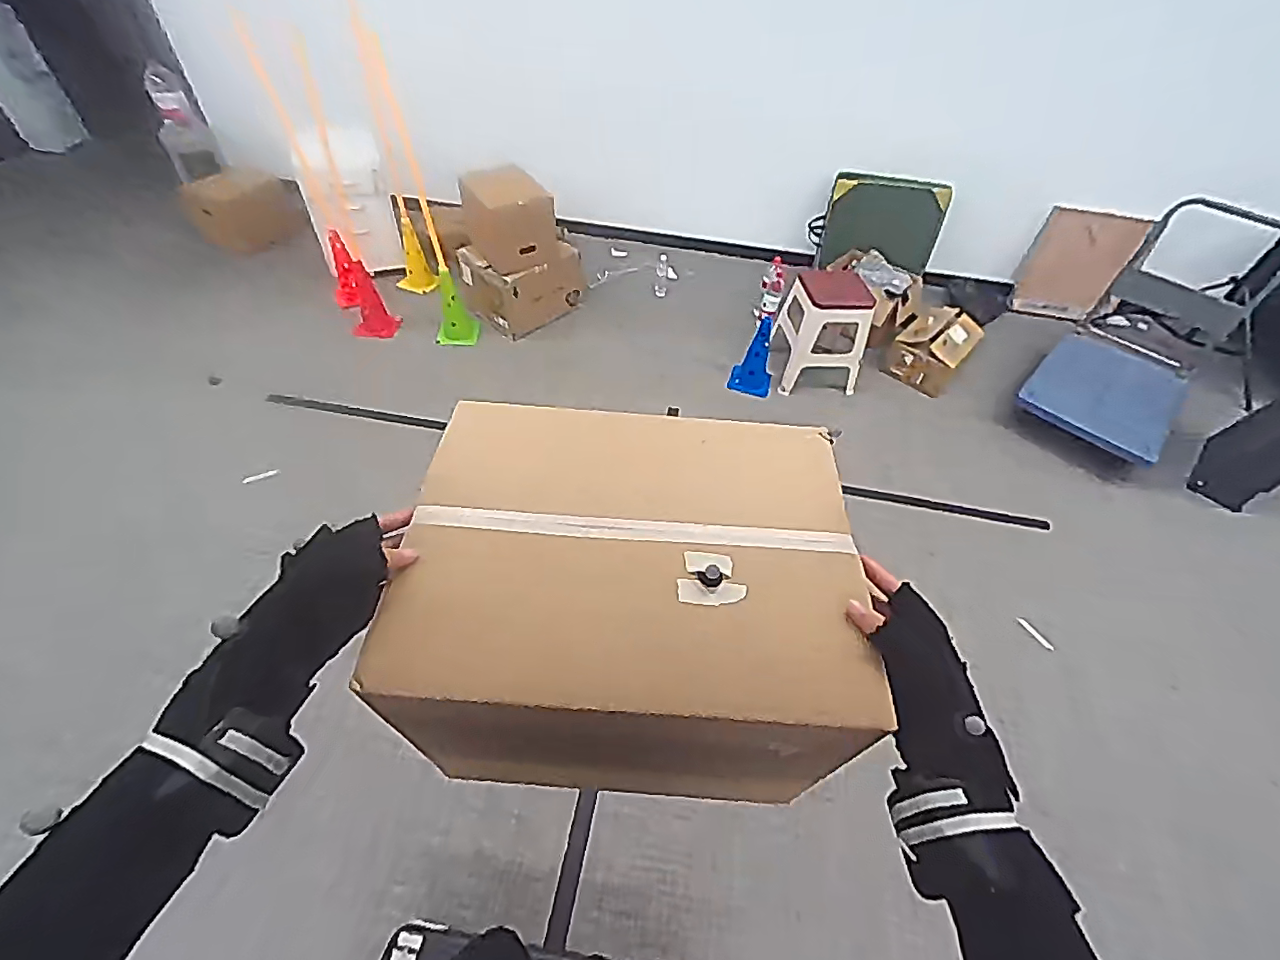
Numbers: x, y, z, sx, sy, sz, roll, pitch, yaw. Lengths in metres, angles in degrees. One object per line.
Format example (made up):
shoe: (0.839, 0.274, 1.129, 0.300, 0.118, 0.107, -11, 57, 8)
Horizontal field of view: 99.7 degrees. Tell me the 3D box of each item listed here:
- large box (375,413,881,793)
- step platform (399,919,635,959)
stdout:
large box: (-0.012, 0.150, 0.624, 0.408, 0.320, 0.320, 5, 51, -1)
step platform: (-0.185, 1.129, 1.099, 0.684, 0.204, 0.286, 9, 49, 2)
